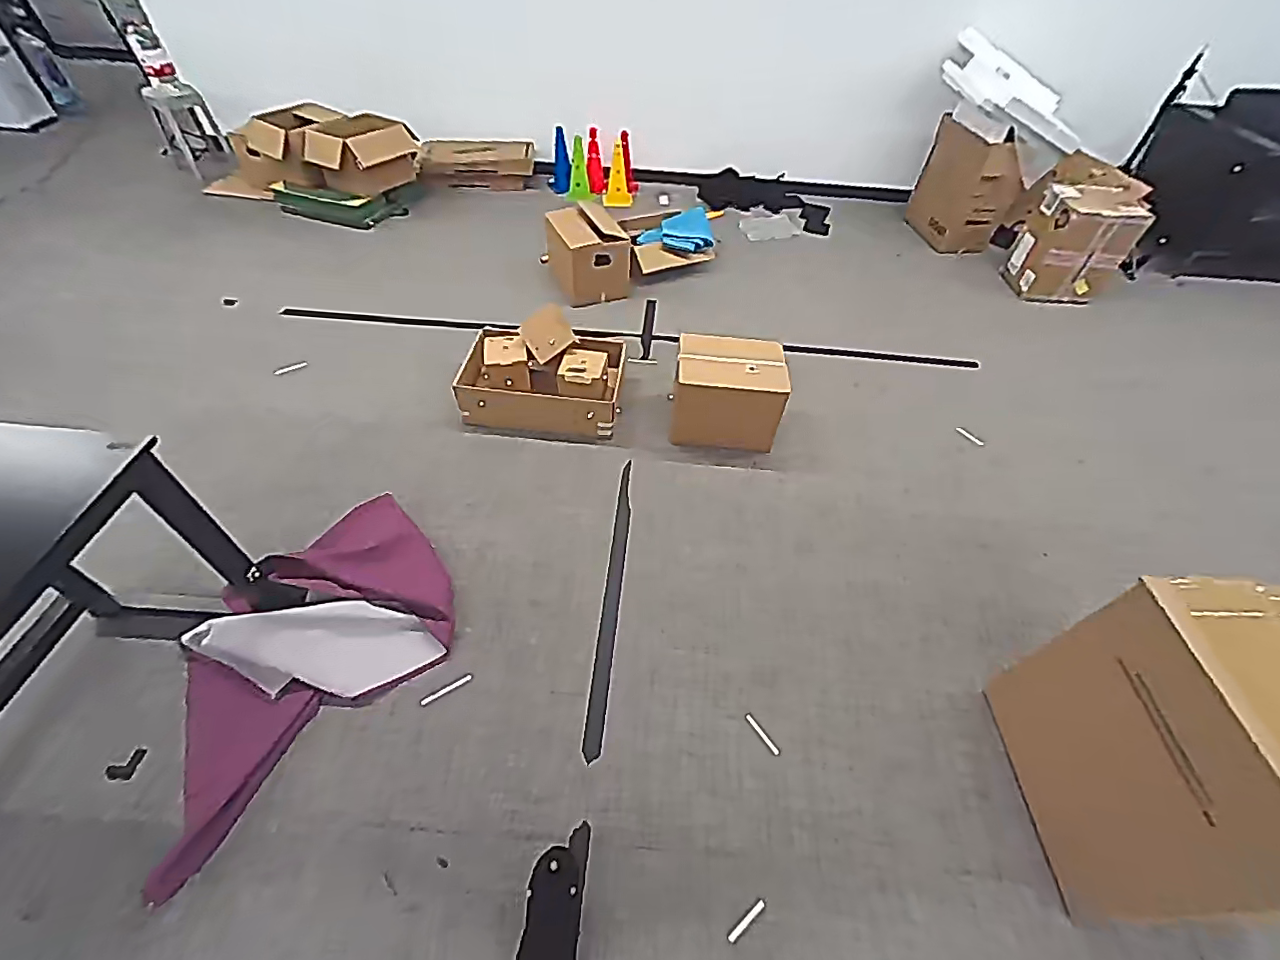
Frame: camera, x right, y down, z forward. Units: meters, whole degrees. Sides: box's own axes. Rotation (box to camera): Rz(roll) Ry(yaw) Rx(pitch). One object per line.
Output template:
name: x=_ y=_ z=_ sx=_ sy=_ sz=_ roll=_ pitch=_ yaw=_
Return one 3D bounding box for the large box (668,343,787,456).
large box: x=0.326 y=-0.314 z=2.137 sx=0.408 sy=0.320 sz=0.320 roll=5 pitch=49 yaw=-1
